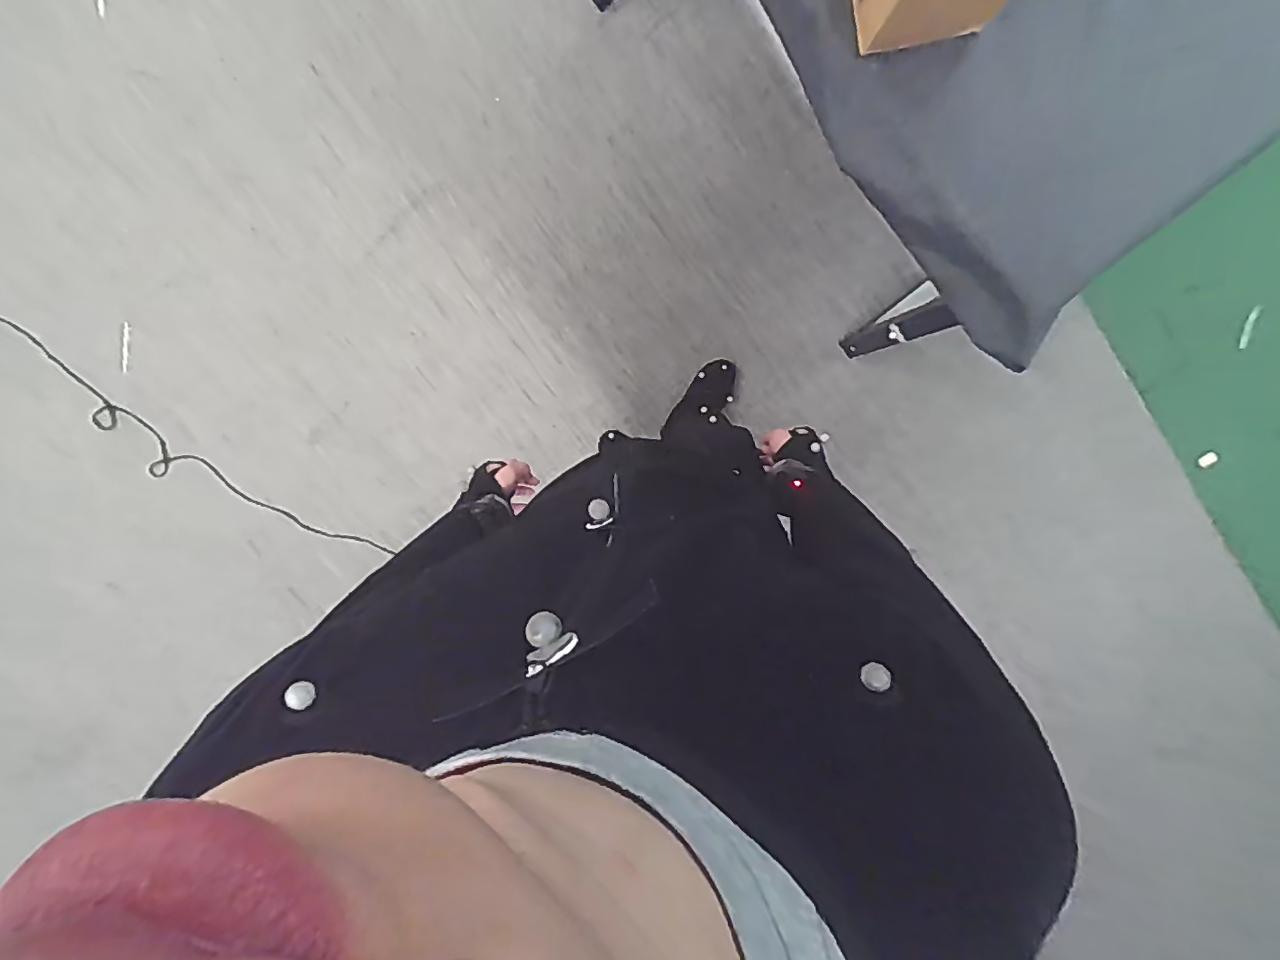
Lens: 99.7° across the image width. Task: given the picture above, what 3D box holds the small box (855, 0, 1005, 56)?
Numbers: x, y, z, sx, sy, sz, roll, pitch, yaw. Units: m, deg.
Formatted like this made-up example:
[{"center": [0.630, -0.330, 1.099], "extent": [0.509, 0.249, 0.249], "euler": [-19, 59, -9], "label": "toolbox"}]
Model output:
[{"center": [0.376, -0.671, 0.668], "extent": [0.179, 0.176, 0.168], "euler": [-12, 97, -1], "label": "small box"}]
